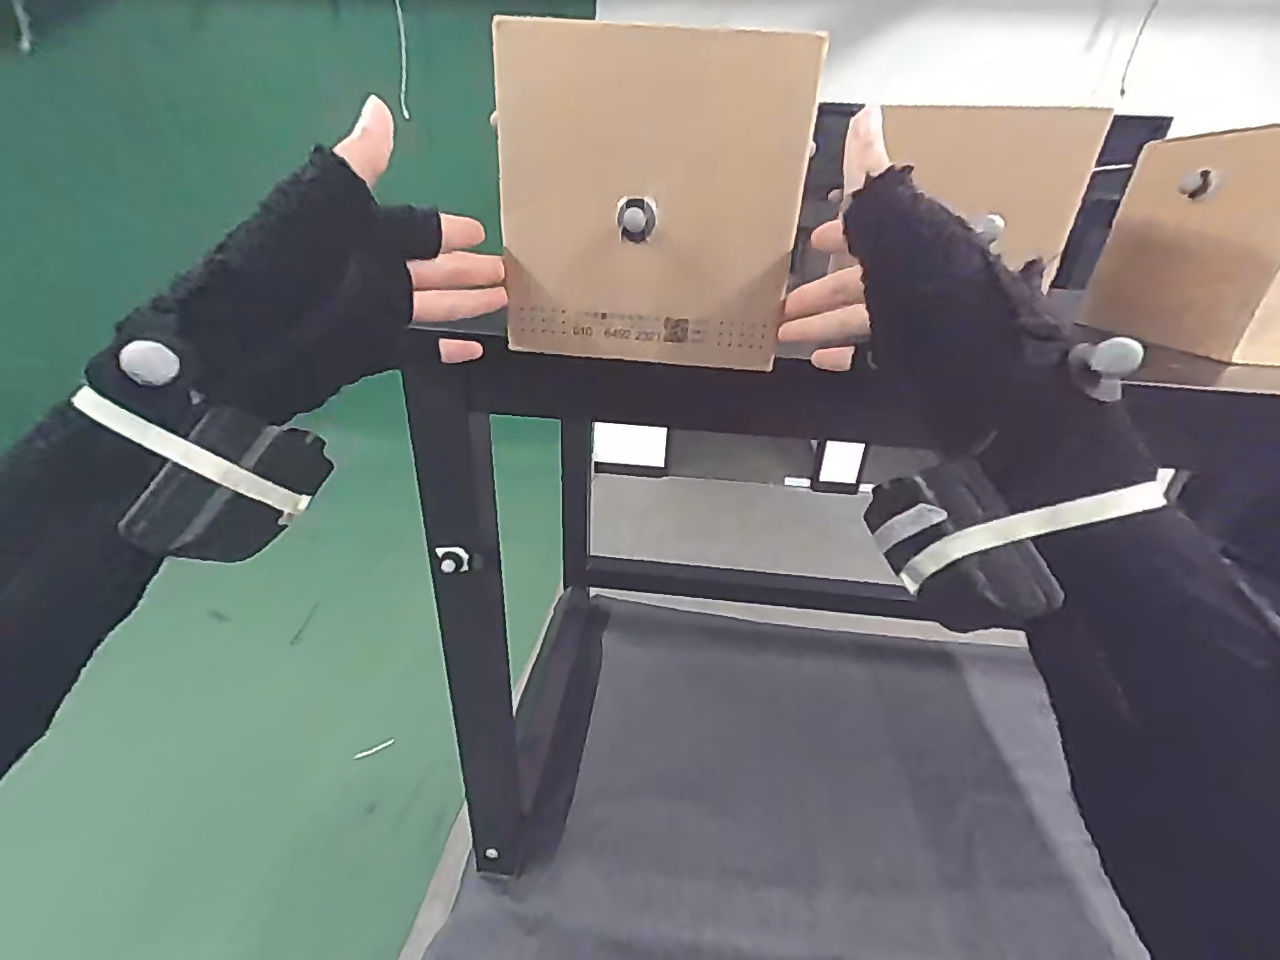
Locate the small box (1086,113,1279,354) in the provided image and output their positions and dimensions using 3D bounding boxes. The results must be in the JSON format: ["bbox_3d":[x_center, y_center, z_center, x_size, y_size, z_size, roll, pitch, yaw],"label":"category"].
[{"bbox_3d":[0.540,-0.199,0.452,0.168,0.176,0.179,3,26,0],"label":"small box"}]

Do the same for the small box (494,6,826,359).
[{"bbox_3d":[0.013,-0.187,0.369,0.168,0.176,0.179,6,27,3],"label":"small box"}]
